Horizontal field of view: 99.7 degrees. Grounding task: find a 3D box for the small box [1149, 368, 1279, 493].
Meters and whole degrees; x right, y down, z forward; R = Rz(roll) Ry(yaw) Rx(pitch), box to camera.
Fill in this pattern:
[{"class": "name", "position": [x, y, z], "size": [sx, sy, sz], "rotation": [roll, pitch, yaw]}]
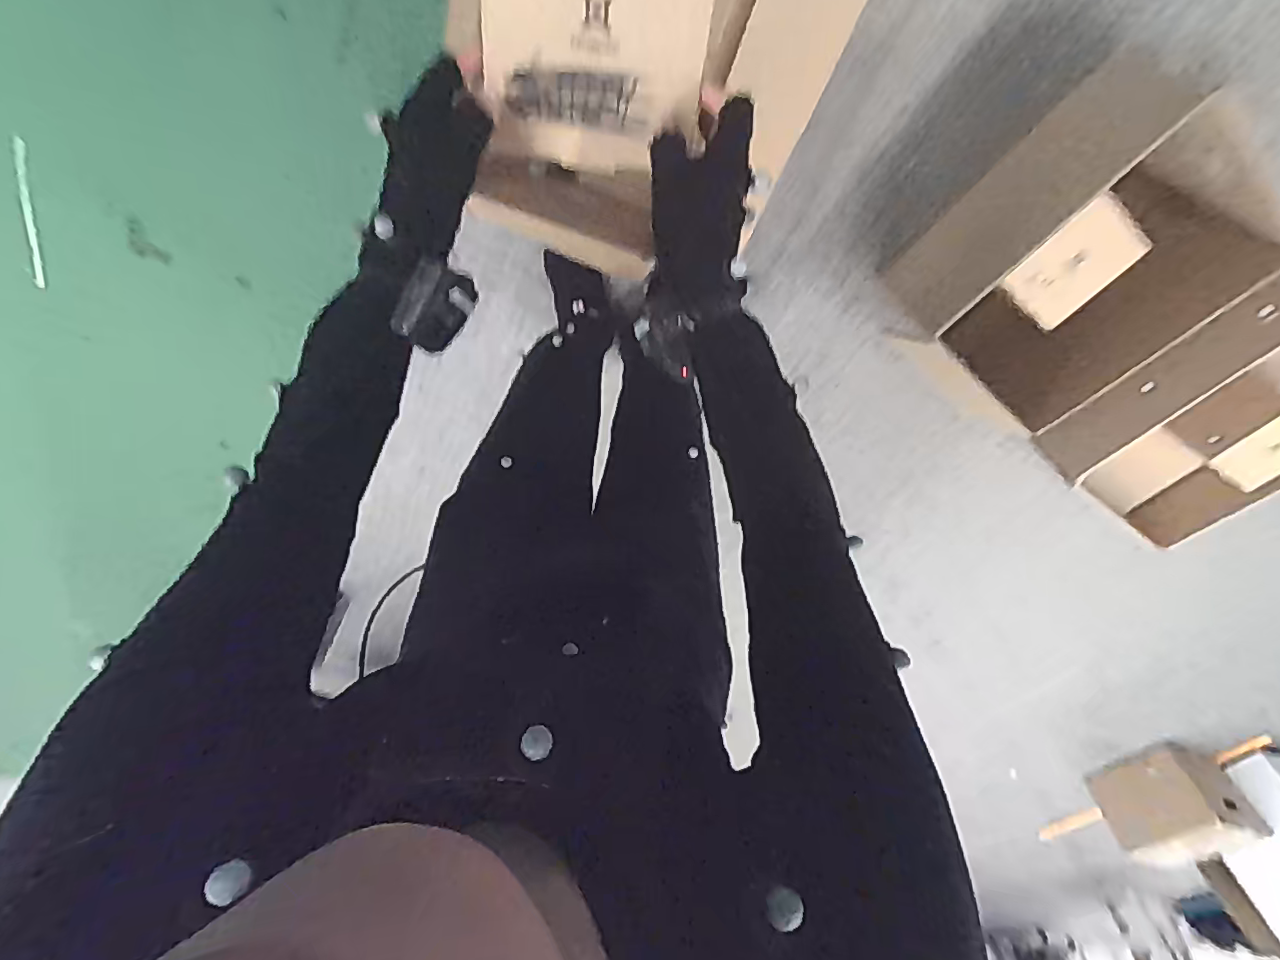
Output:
[{"class": "small box", "position": [1.278, -0.110, 1.163], "size": [0.168, 0.176, 0.179], "rotation": [24, 125, -17]}]
